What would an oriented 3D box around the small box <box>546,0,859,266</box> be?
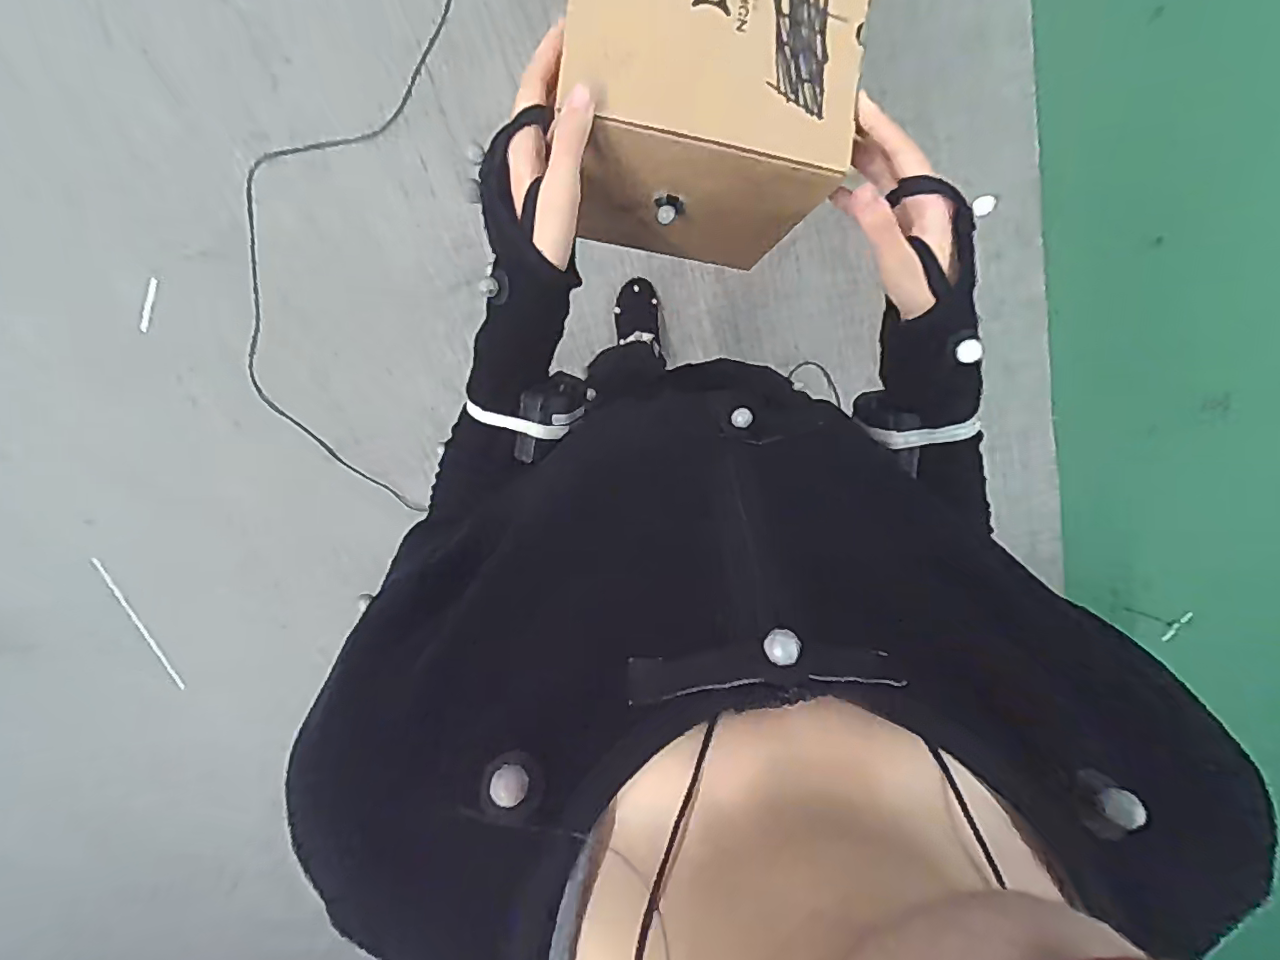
[{"bbox_3d":[0.031,-0.272,0.390,0.179,0.176,0.168,7,91,-9],"label":"small box"}]
